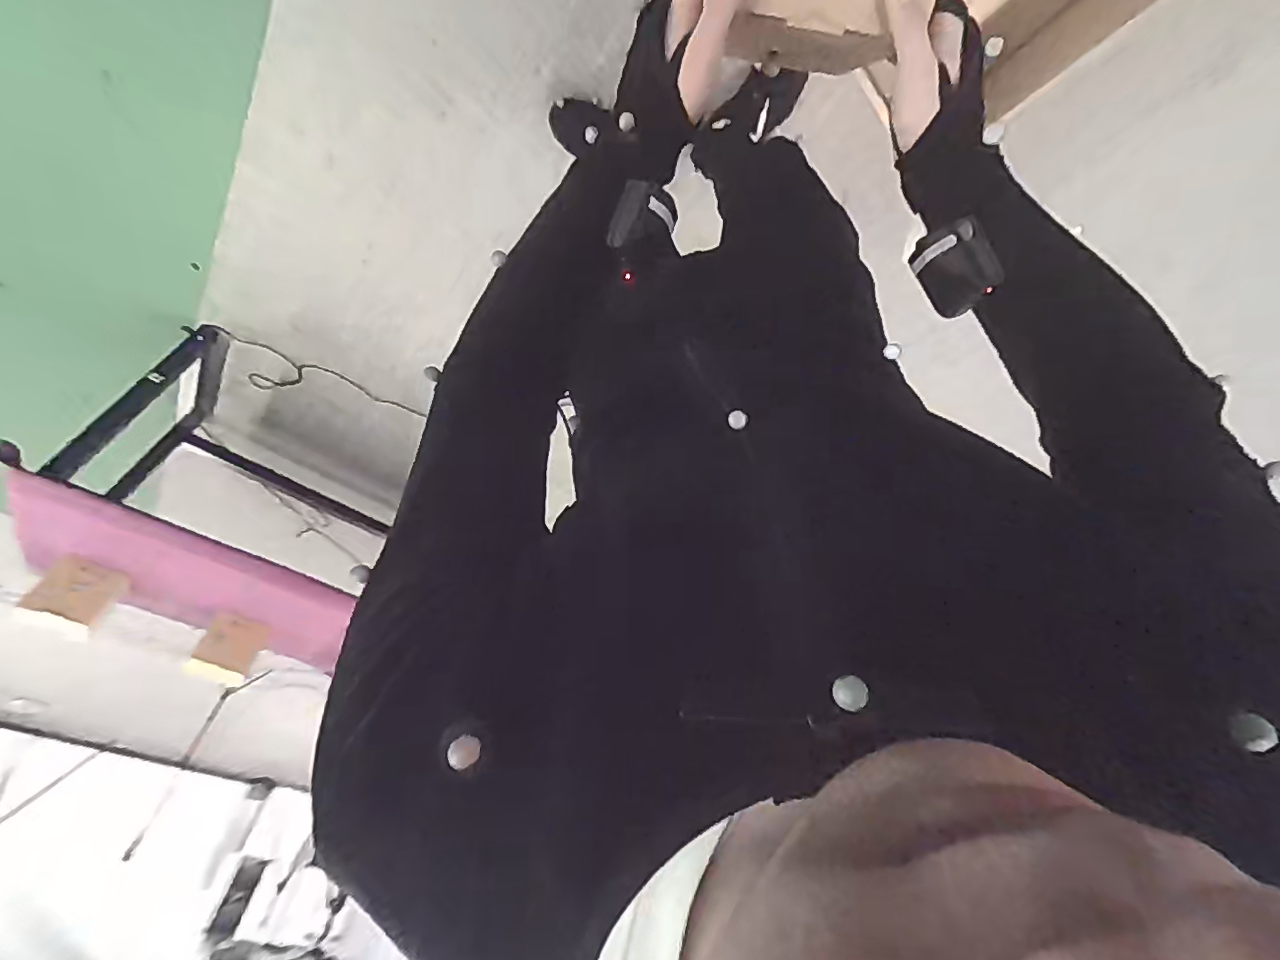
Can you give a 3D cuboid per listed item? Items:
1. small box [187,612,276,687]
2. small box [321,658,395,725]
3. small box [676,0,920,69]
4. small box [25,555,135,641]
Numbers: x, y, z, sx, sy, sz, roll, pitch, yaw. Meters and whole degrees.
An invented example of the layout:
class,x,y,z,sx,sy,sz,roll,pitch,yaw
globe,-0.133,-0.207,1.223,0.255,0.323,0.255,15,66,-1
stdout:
class,x,y,z,sx,sy,sz,roll,pitch,yaw
small box,-1.344,0.558,1.787,0.168,0.176,0.179,33,133,-24
small box,-1.015,0.764,1.957,0.168,0.176,0.179,32,134,-23
small box,0.123,-0.444,0.414,0.168,0.176,0.179,5,121,-4
small box,-1.654,0.349,1.603,0.168,0.176,0.179,33,132,-25
